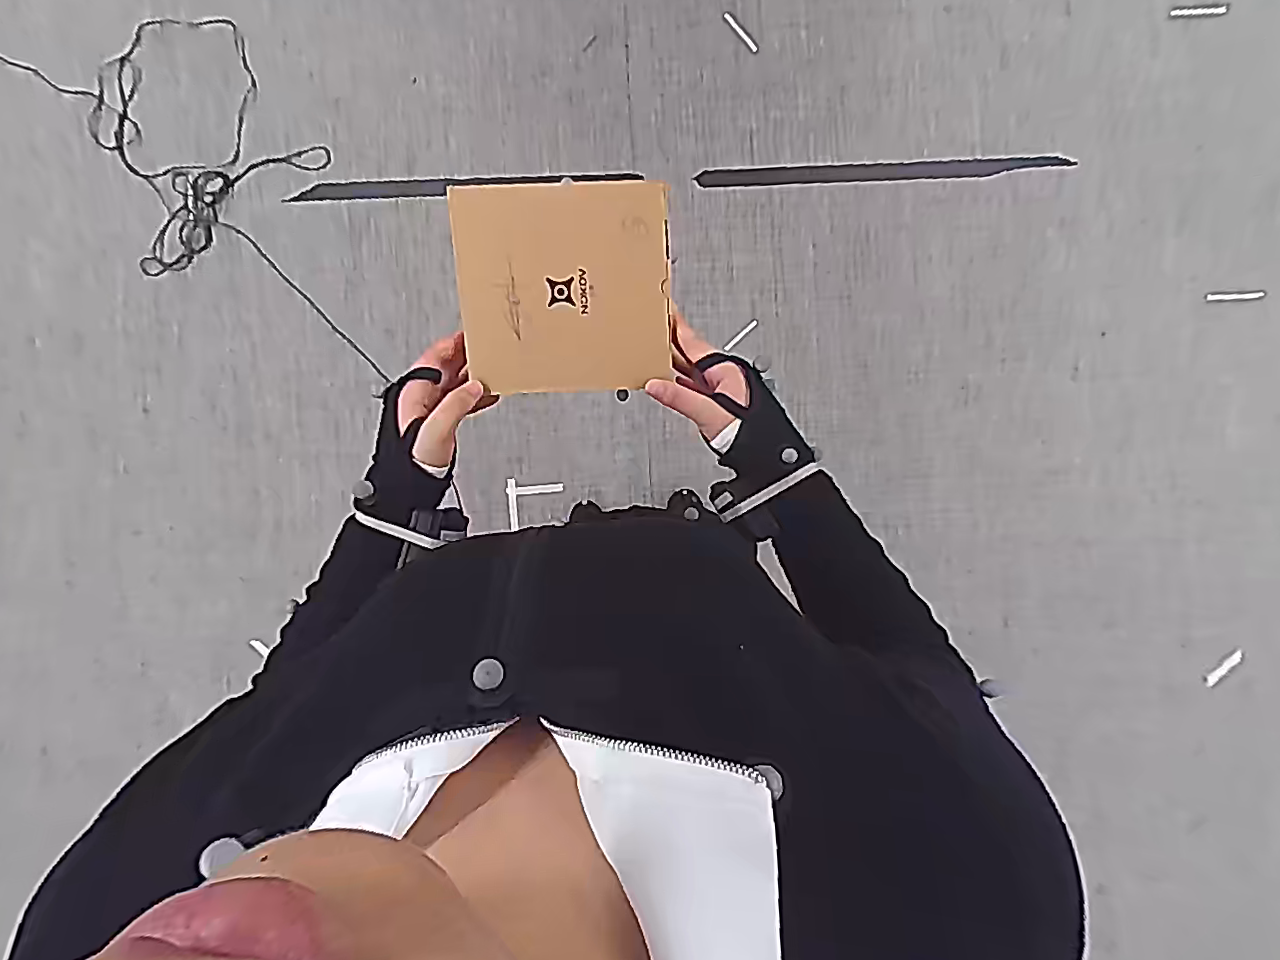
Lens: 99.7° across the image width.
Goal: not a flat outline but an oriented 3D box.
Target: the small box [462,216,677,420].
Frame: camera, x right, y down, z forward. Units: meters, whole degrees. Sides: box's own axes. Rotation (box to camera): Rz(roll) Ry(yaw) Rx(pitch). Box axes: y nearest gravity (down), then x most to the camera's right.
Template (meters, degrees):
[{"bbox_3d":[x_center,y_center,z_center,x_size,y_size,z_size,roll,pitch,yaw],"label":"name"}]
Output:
[{"bbox_3d":[-0.061,-0.154,0.544,0.179,0.176,0.168,-4,102,-1],"label":"small box"}]
